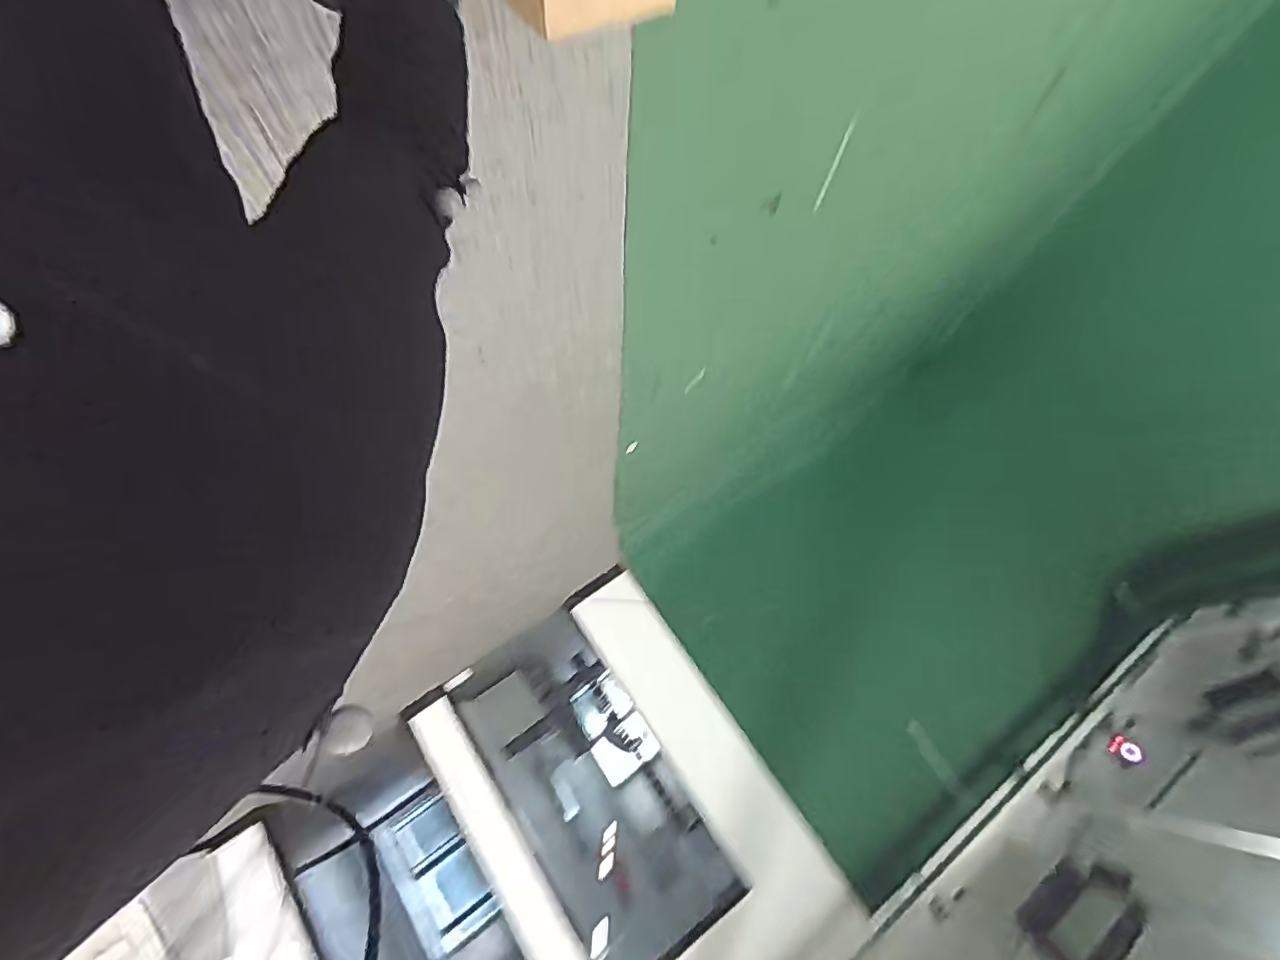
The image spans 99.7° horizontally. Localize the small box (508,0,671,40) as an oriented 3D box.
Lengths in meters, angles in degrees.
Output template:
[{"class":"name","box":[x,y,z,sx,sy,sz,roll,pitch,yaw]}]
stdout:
[{"class":"small box","box":[-0.073,-0.591,0.540,0.179,0.176,0.168,-30,162,-19]}]
